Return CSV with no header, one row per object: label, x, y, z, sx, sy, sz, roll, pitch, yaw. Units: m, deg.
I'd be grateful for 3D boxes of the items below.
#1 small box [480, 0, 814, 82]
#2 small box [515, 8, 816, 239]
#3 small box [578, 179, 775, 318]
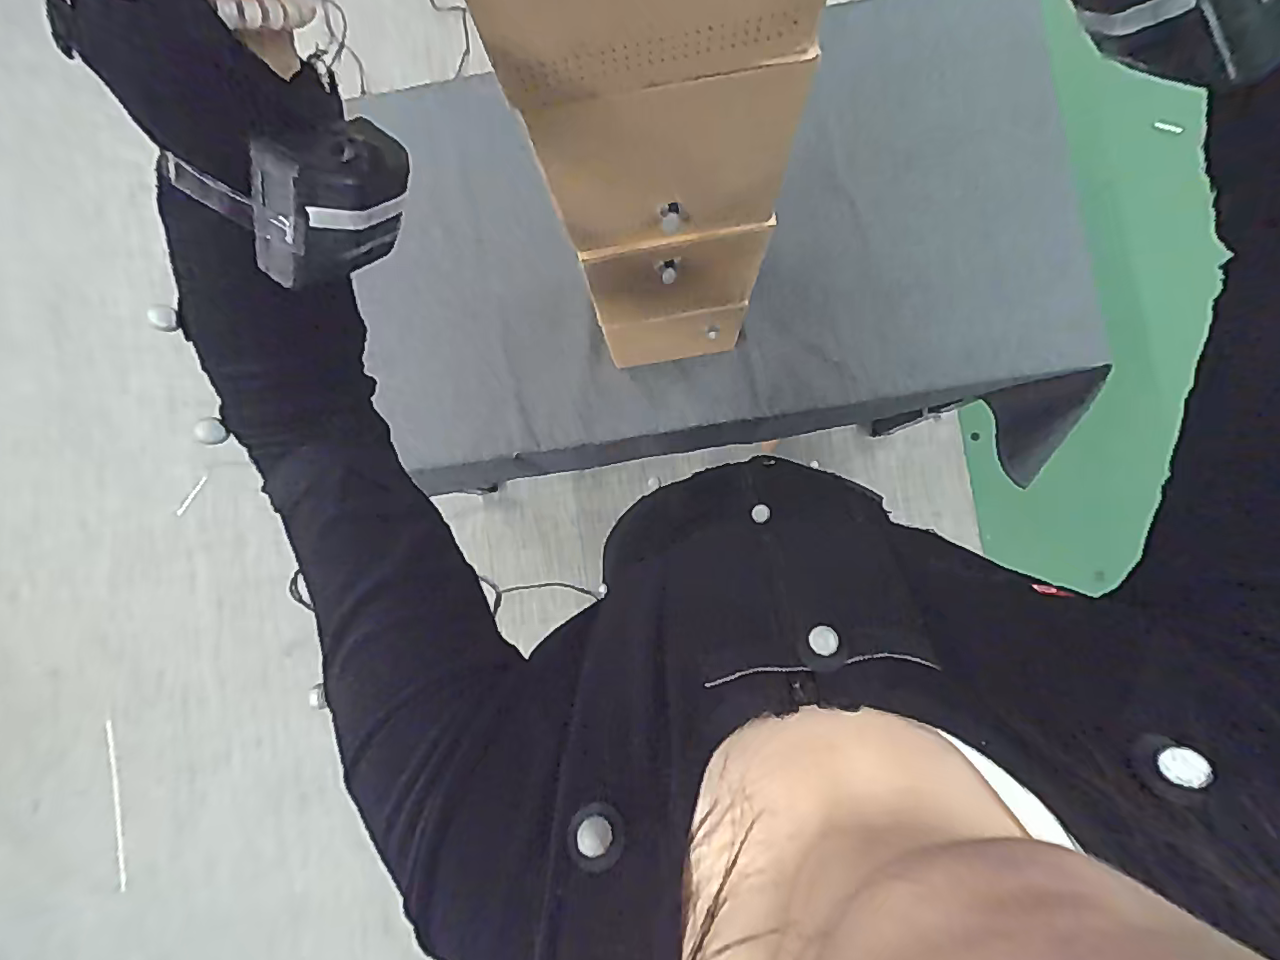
small box,-0.006,-0.317,0.232,0.179,0.176,0.168,-9,86,3
small box,0.010,-0.302,0.395,0.179,0.176,0.168,-7,85,3
small box,0.025,-0.285,0.557,0.179,0.176,0.168,-9,85,3
